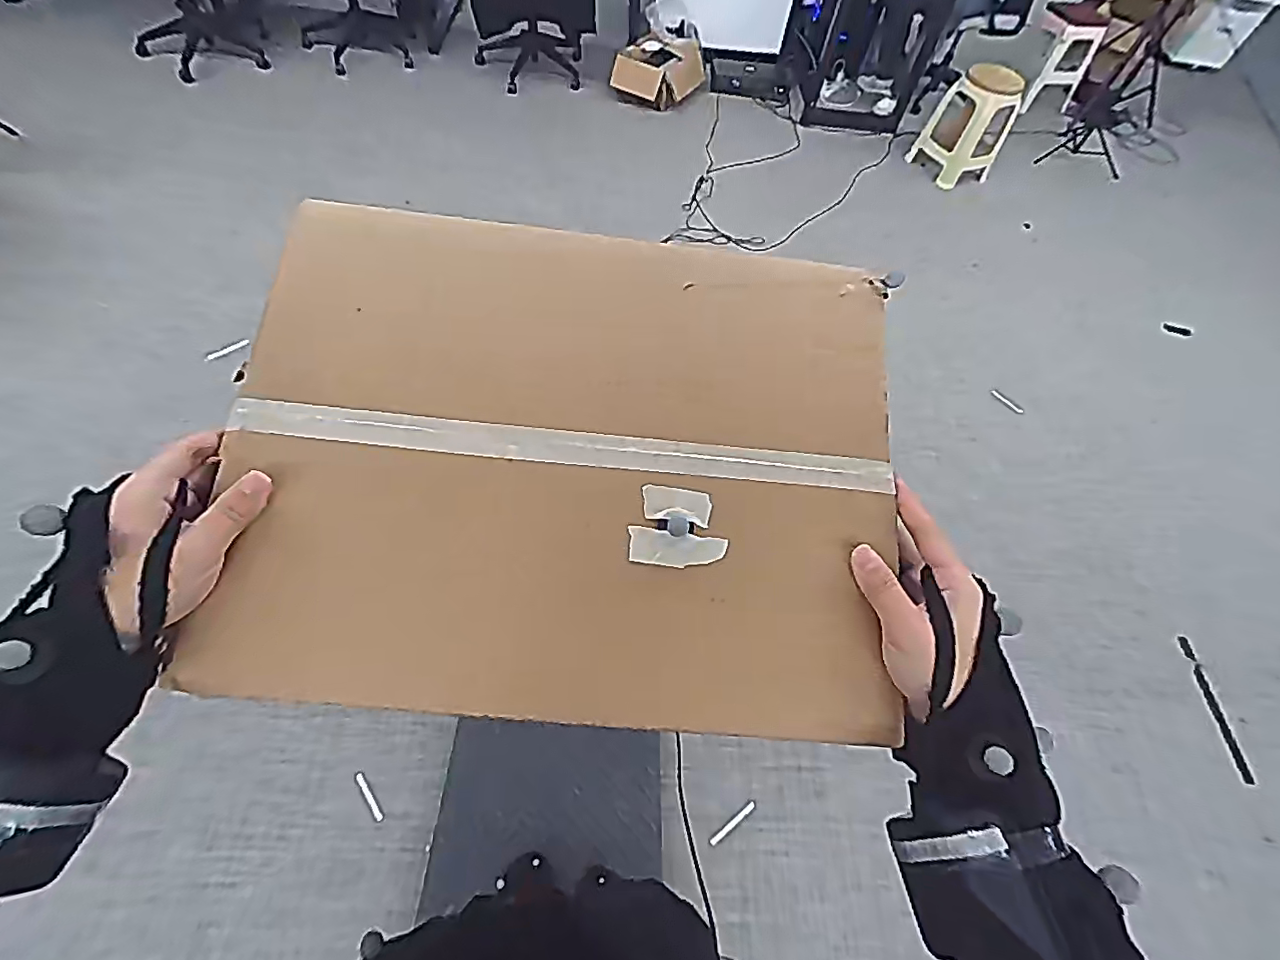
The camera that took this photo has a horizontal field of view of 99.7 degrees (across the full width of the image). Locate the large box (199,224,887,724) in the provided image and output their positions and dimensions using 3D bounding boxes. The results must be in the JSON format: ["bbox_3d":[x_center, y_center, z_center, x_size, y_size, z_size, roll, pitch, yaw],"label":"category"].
[{"bbox_3d":[-0.051,0.021,0.492,0.408,0.320,0.320,6,75,-3],"label":"large box"}]
